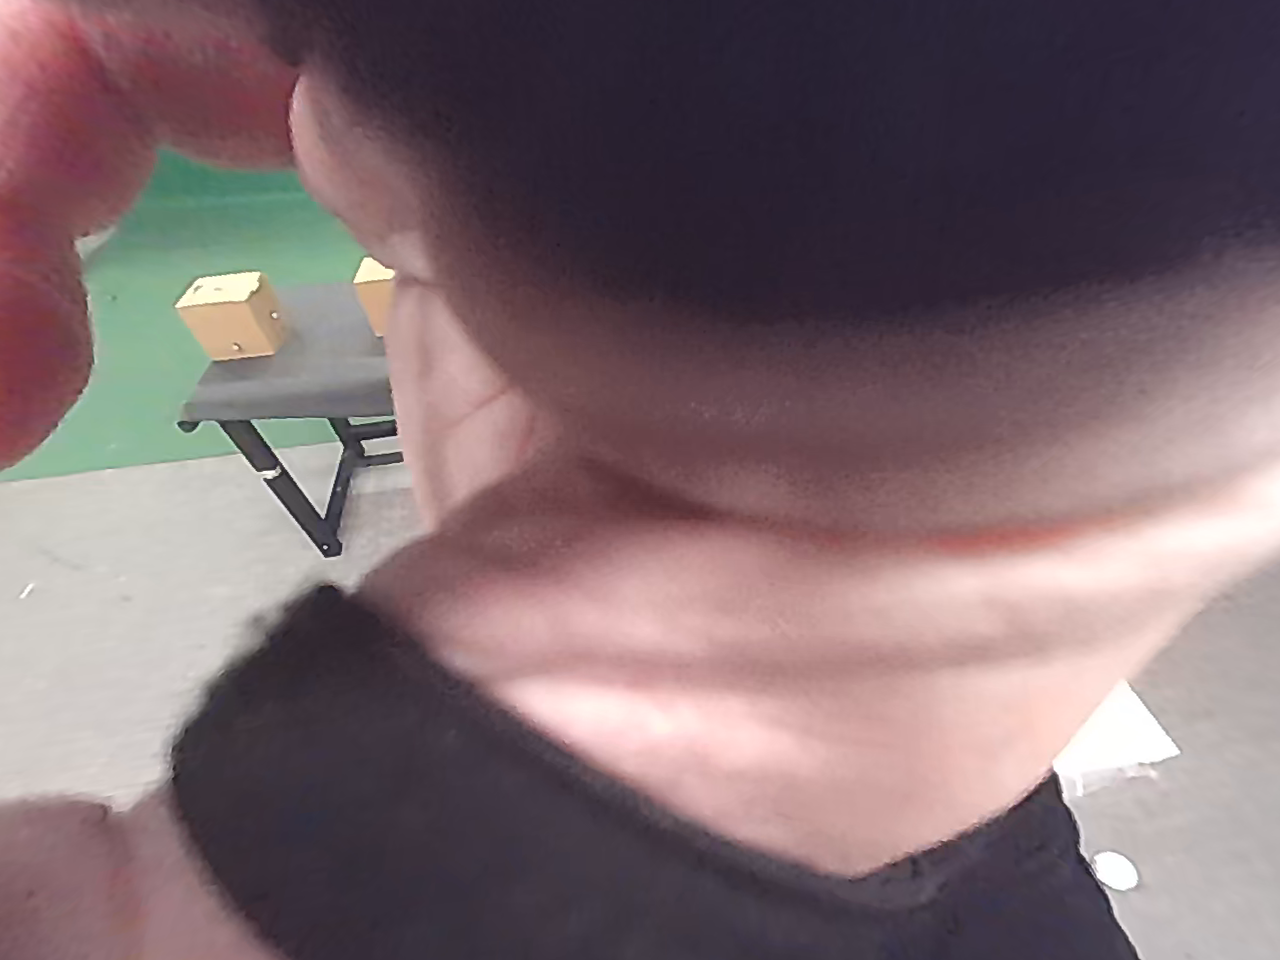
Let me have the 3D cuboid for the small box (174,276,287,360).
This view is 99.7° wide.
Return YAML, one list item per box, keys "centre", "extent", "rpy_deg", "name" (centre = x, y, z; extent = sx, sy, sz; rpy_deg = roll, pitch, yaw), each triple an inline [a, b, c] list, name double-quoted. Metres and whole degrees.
- centre: [-1.126, -0.451, 1.507]
  extent: [0.179, 0.176, 0.168]
  rpy_deg: [-6, 45, -7]
  name: "small box"

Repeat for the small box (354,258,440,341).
- centre: [-0.699, -0.526, 1.580]
  extent: [0.179, 0.176, 0.168]
  rpy_deg: [-8, 44, -5]
  name: "small box"
